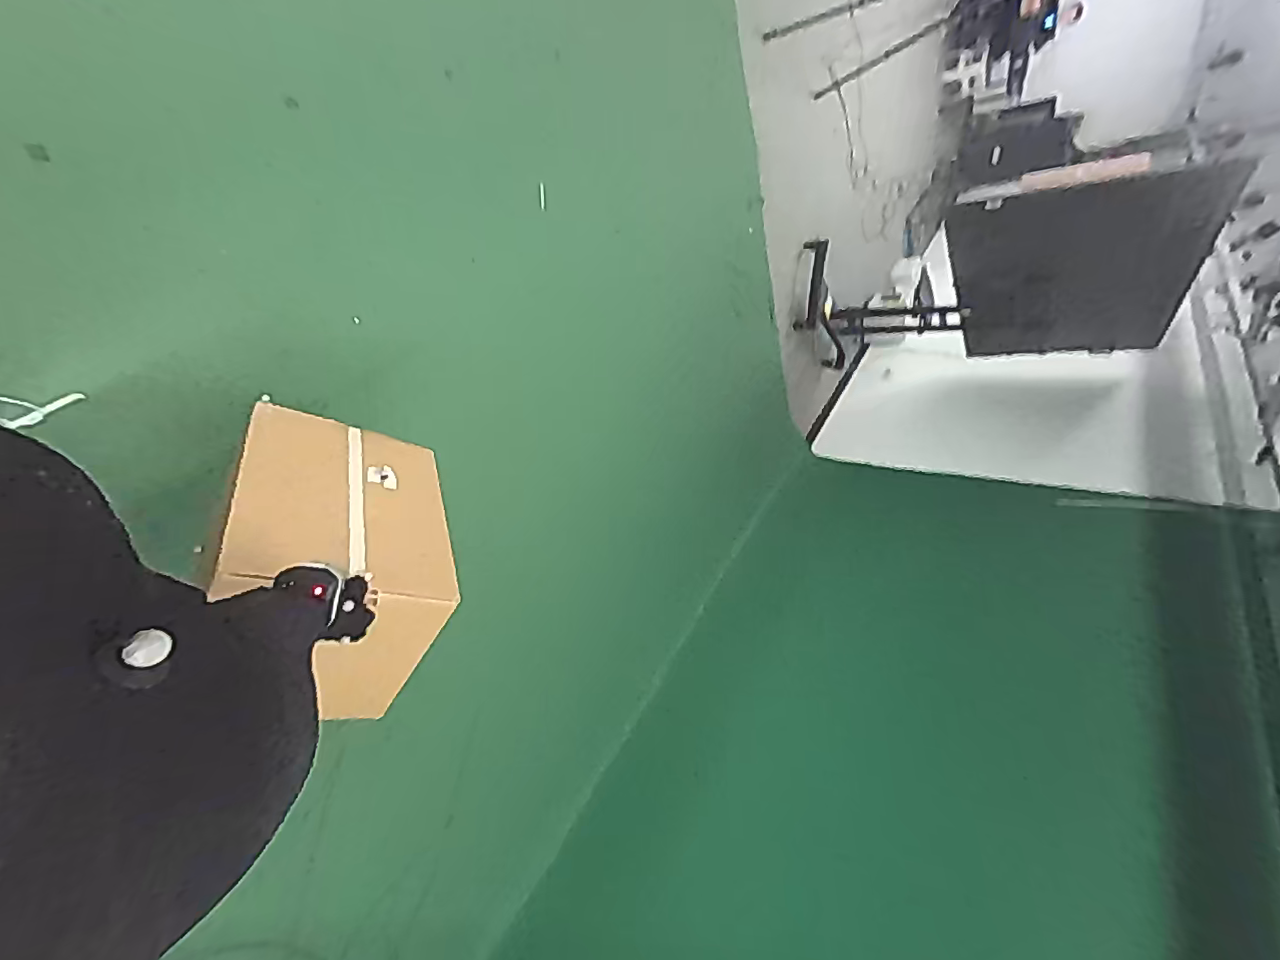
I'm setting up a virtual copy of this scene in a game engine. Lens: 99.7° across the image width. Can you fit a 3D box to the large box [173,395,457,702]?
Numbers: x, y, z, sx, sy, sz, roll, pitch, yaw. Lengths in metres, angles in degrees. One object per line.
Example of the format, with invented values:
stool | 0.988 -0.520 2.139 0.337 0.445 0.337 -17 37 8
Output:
large box | -0.560 0.121 0.947 0.320 0.408 0.320 19 117 -39
